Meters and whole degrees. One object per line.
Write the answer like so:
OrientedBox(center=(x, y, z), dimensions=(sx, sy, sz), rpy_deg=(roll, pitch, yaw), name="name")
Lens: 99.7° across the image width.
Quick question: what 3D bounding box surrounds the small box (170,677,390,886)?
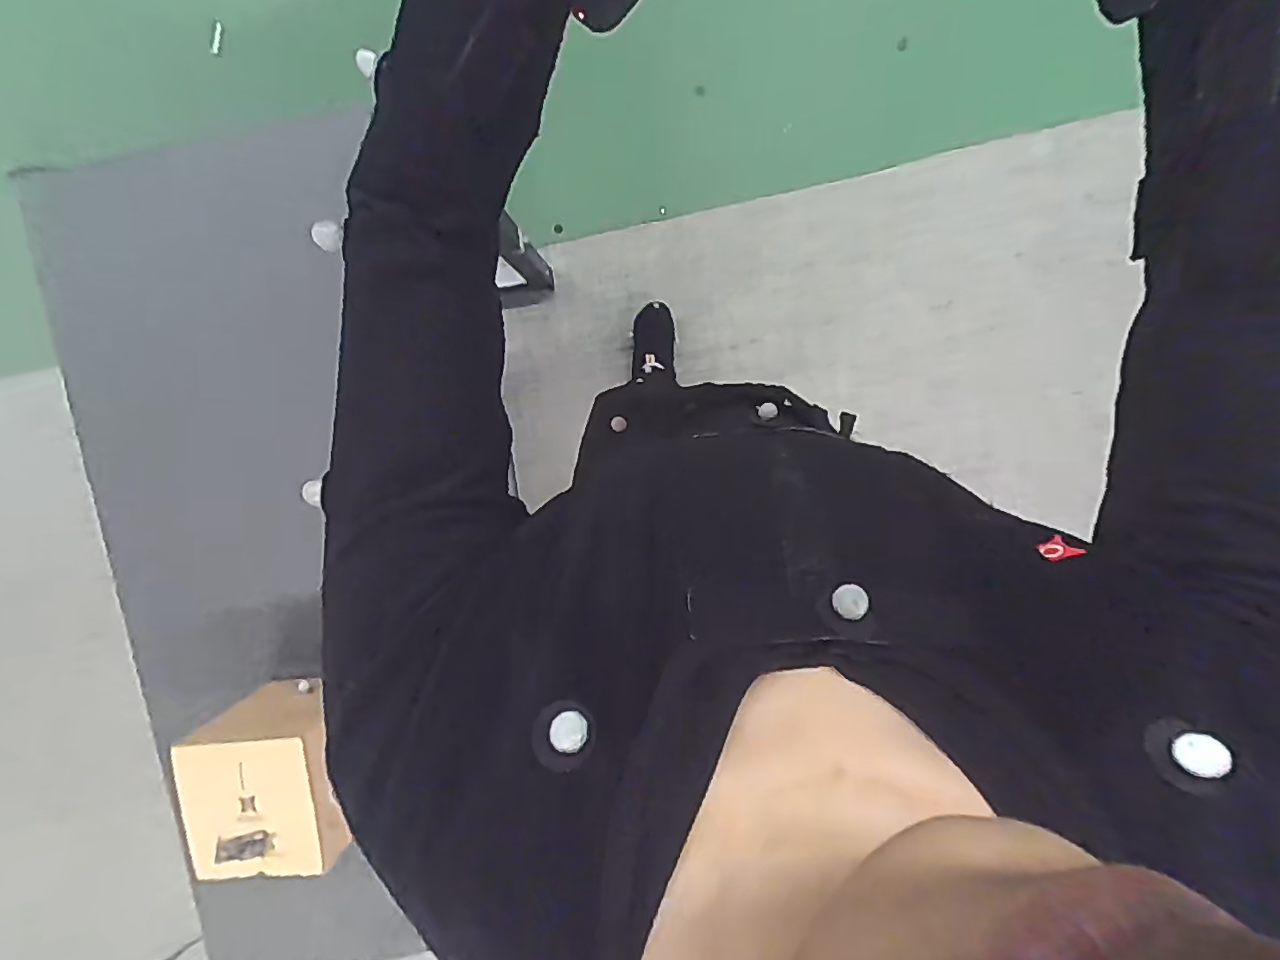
OrientedBox(center=(-0.453, 0.382, 0.710), dimensions=(0.168, 0.176, 0.179), rpy_deg=(-6, 94, 3), name="small box")
